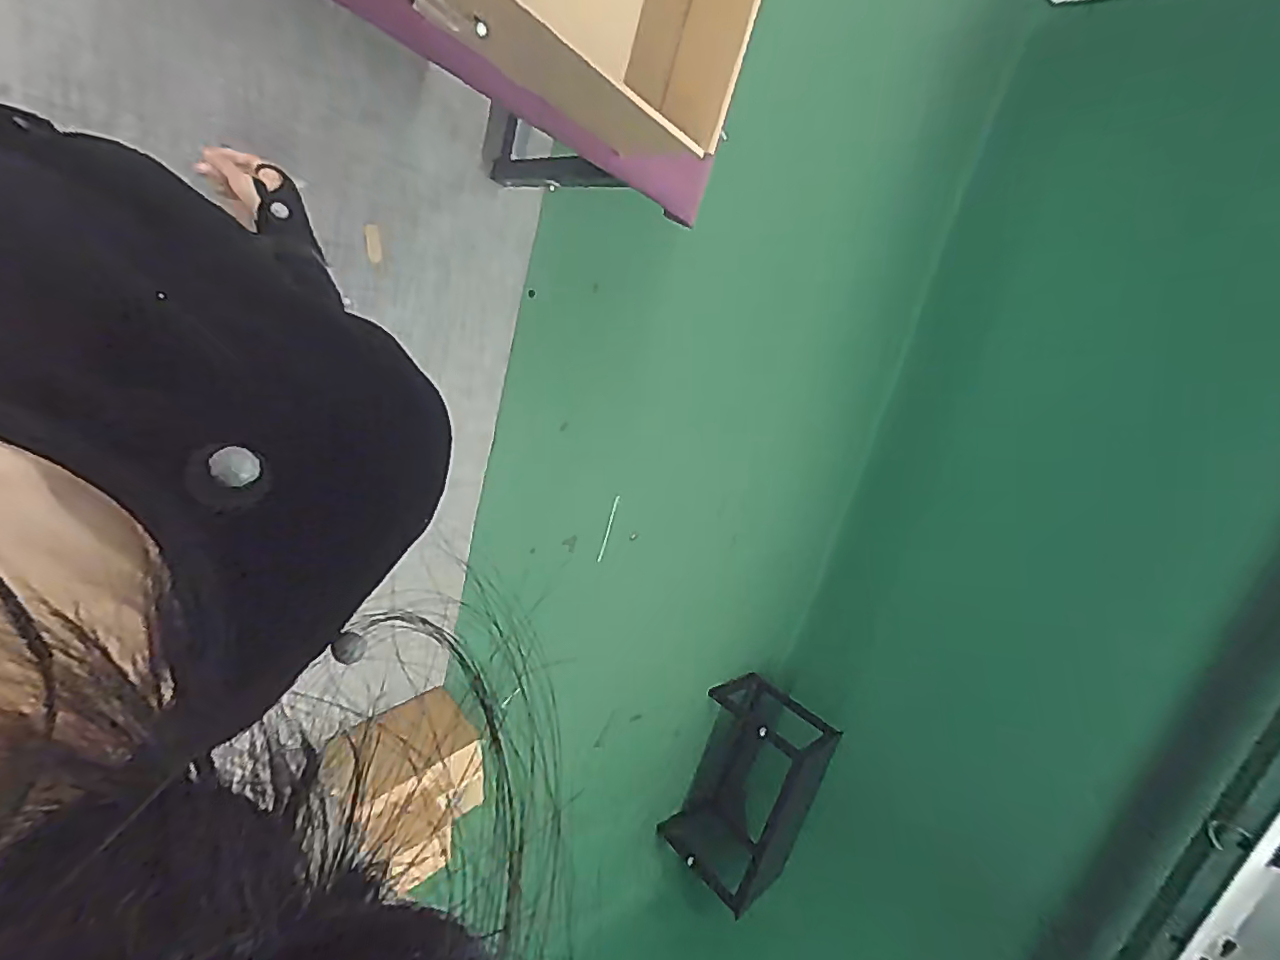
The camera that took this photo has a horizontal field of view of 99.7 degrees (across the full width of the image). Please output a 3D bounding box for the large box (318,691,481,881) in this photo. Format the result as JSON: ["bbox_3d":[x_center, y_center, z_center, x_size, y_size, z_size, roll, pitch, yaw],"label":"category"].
[{"bbox_3d":[-0.802,1.005,1.829,0.408,0.320,0.320,-18,123,-42],"label":"large box"}]

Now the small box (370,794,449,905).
[{"bbox_3d":[-0.690,1.089,1.608,0.179,0.176,0.168,-11,118,-43],"label":"small box"}]
